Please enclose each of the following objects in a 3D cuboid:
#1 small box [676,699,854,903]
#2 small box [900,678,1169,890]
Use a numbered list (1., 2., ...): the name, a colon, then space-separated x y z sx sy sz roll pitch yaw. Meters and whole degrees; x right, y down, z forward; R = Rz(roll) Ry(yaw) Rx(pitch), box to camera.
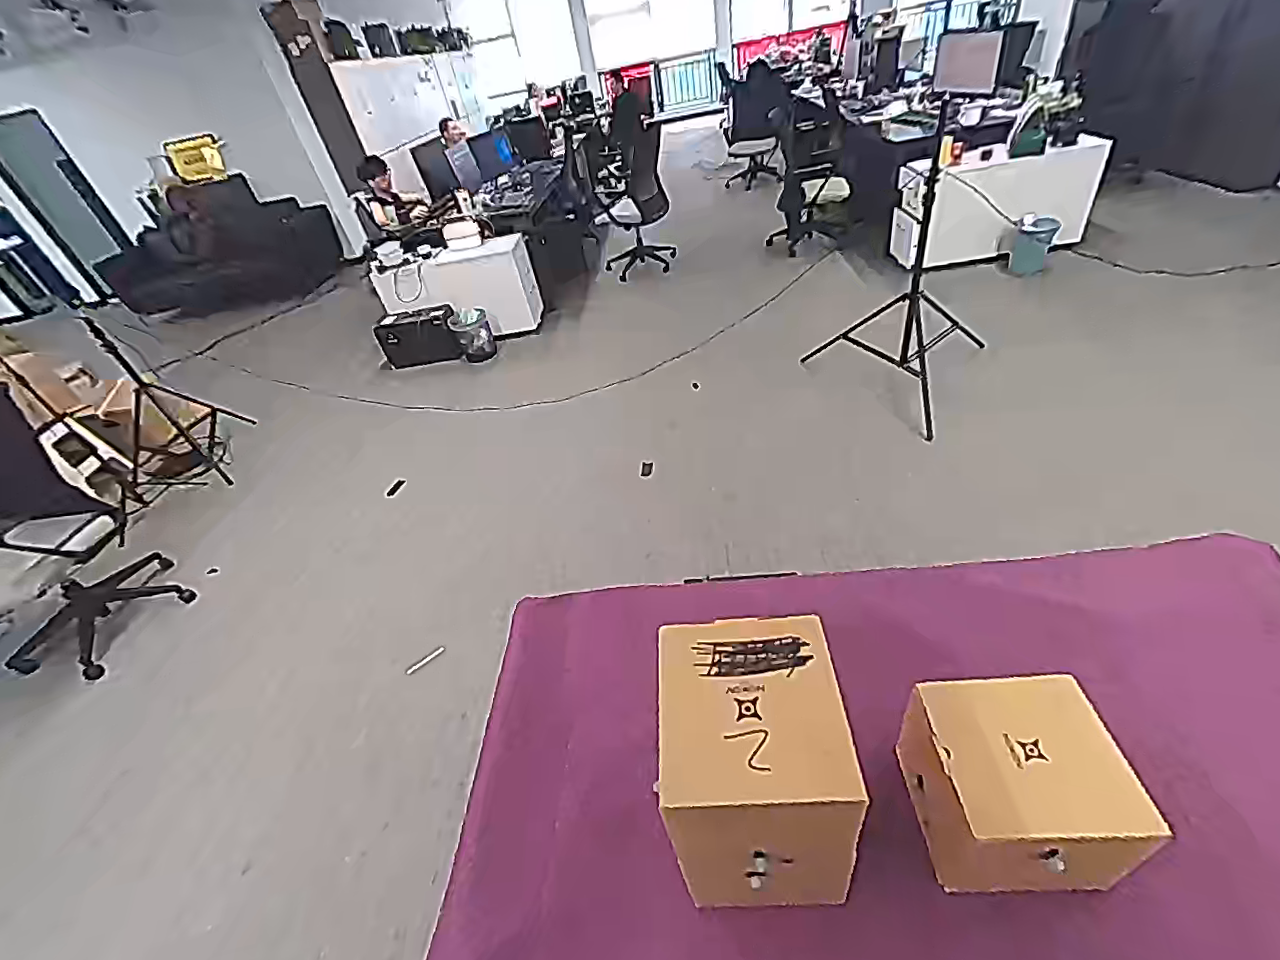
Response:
1. small box: 0.141 0.386 0.649 0.179 0.176 0.168 -6 39 7
2. small box: 0.423 0.349 0.621 0.179 0.176 0.168 -7 39 8
